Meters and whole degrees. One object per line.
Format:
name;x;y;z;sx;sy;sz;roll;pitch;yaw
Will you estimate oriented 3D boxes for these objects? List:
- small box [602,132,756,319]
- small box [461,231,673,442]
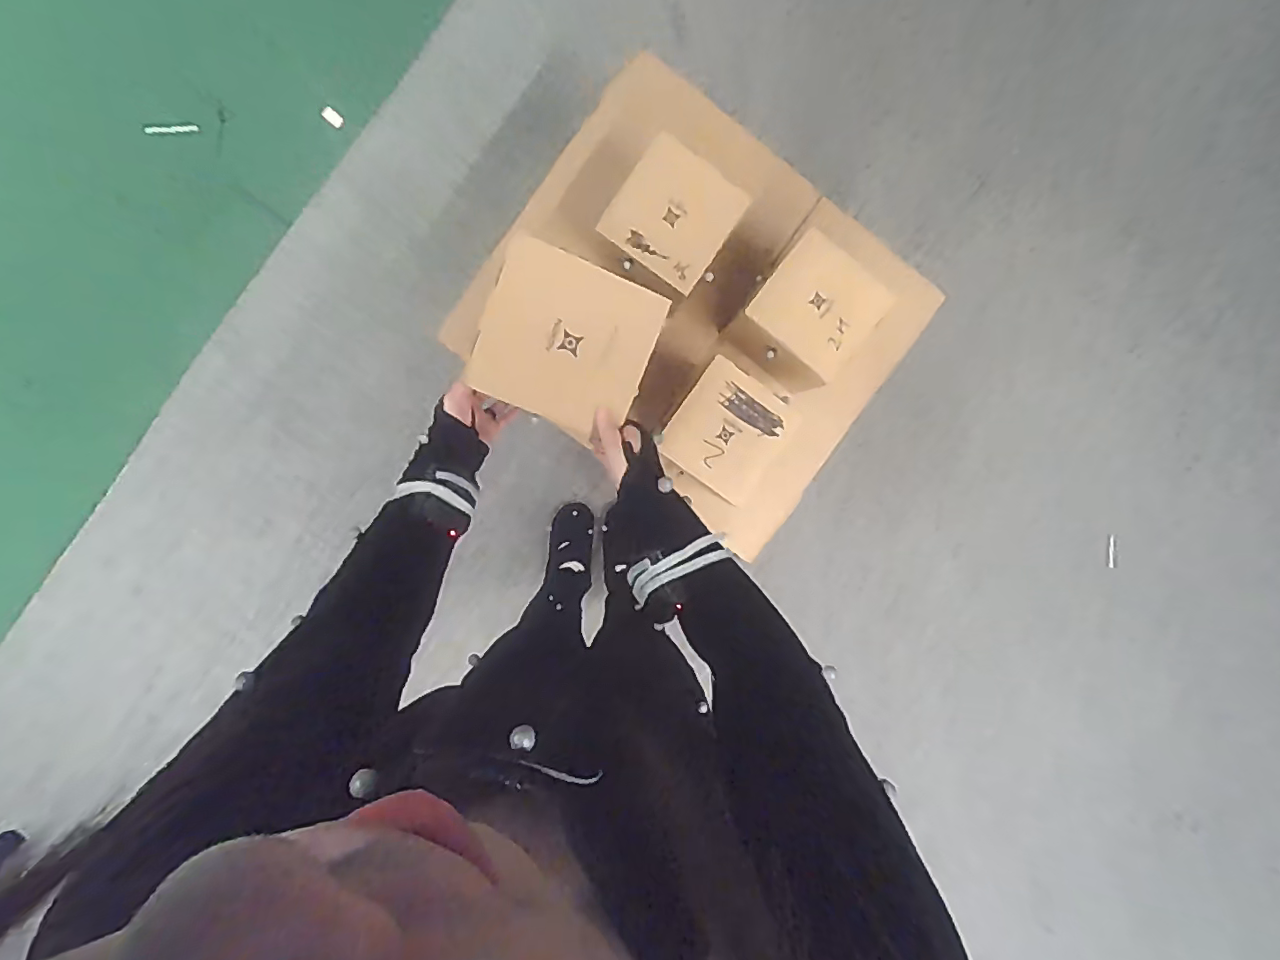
small box;0.051;-0.388;0.859;0.168;0.176;0.179;35;91;-4
small box;-0.084;-0.157;0.634;0.179;0.176;0.168;21;98;-10
